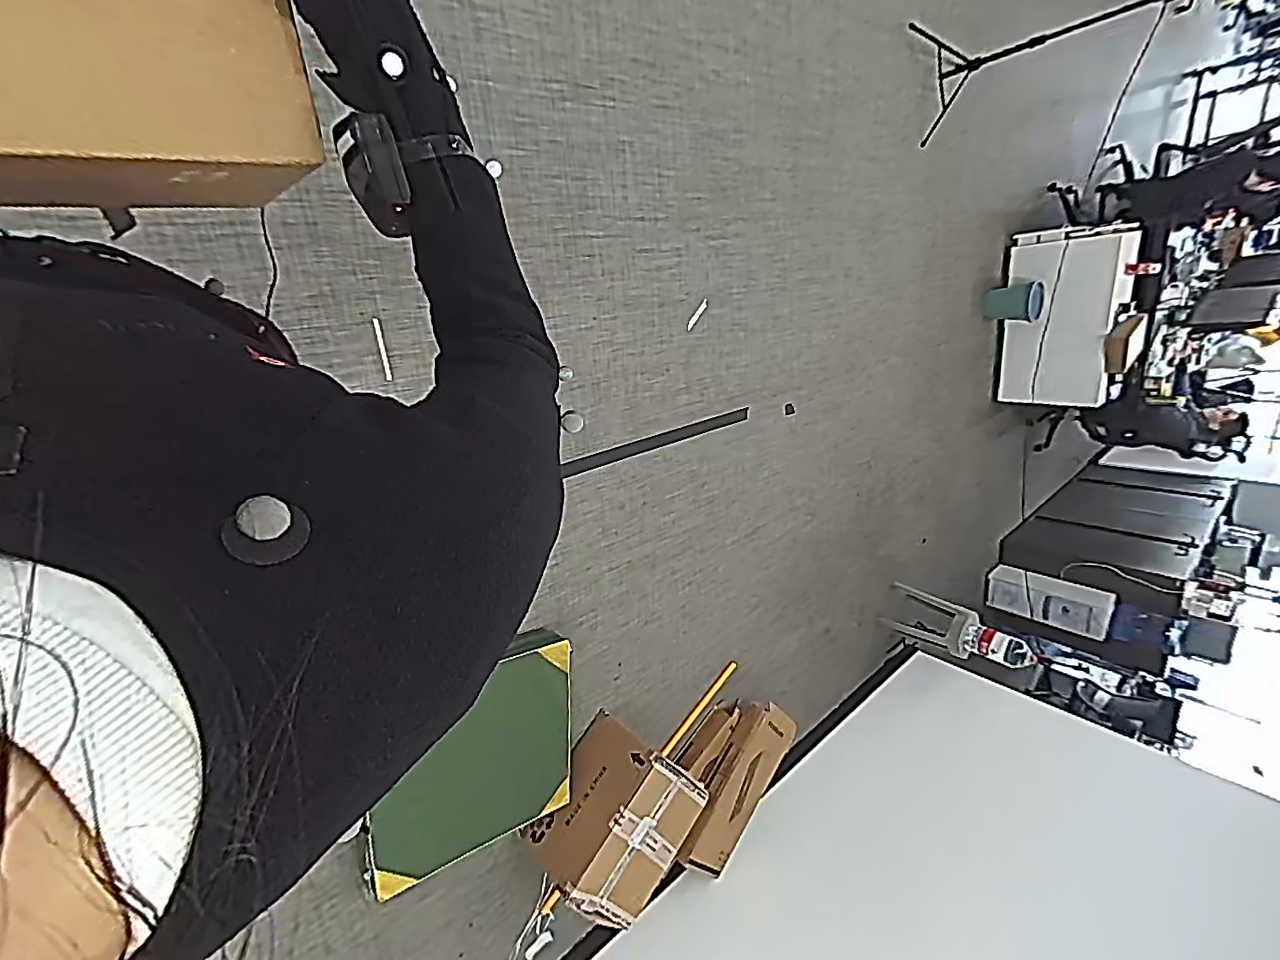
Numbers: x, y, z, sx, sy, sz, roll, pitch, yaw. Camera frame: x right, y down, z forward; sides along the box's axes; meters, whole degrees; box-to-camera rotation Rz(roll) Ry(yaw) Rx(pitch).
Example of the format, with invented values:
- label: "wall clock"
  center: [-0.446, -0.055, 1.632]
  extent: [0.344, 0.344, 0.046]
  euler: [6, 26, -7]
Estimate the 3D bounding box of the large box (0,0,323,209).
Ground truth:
- label: "large box"
  center: [-0.482, -0.344, 0.319]
  extent: [0.408, 0.320, 0.320]
  euler: [-22, 120, -35]
